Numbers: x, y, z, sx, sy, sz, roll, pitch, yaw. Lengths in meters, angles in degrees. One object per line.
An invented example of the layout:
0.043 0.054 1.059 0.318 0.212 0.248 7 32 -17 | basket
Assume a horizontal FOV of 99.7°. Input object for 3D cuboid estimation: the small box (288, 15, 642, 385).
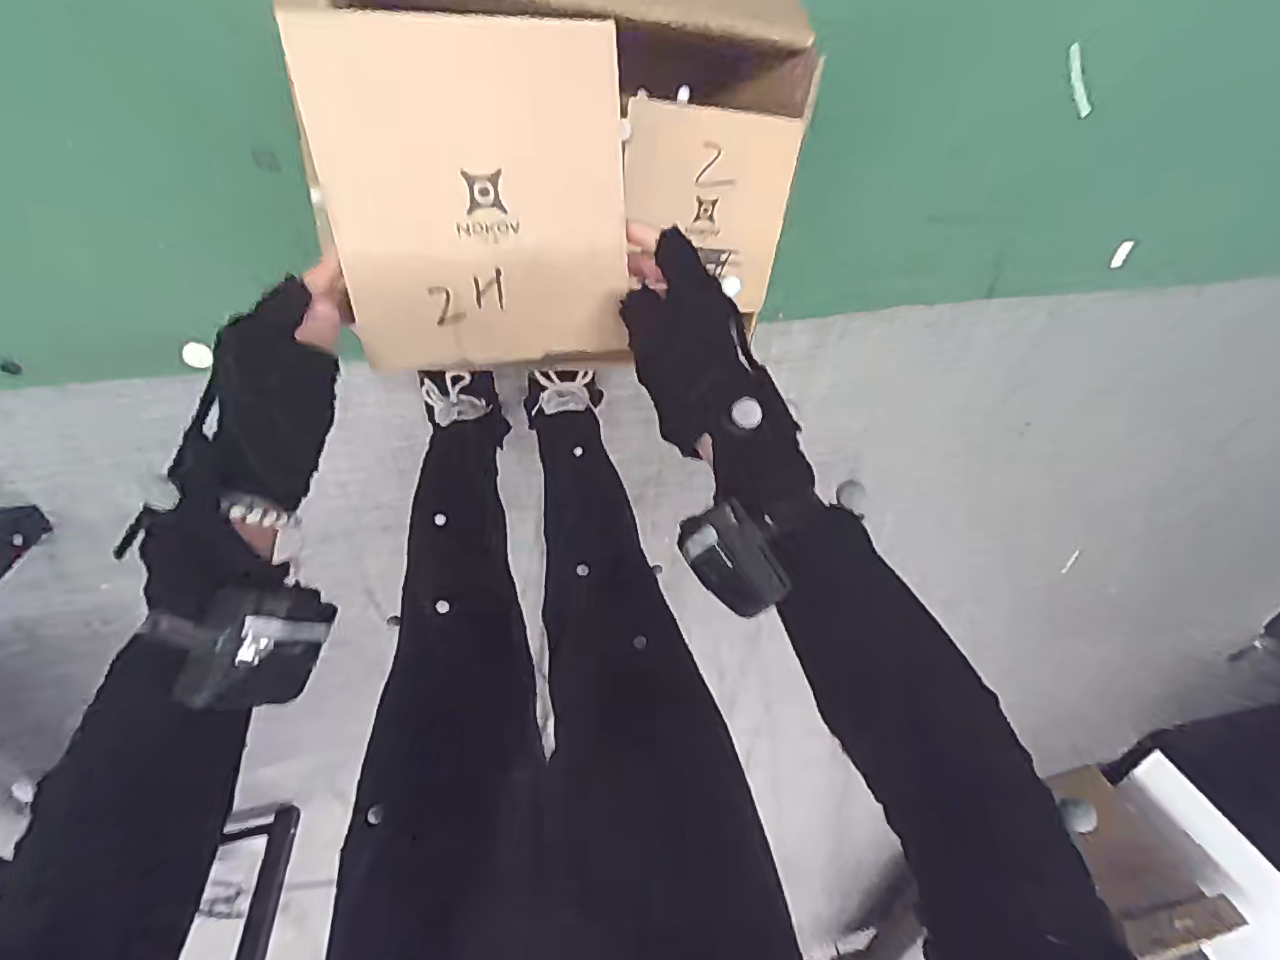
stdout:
-0.103 -0.177 0.370 0.168 0.176 0.179 -9 116 -12 | small box
